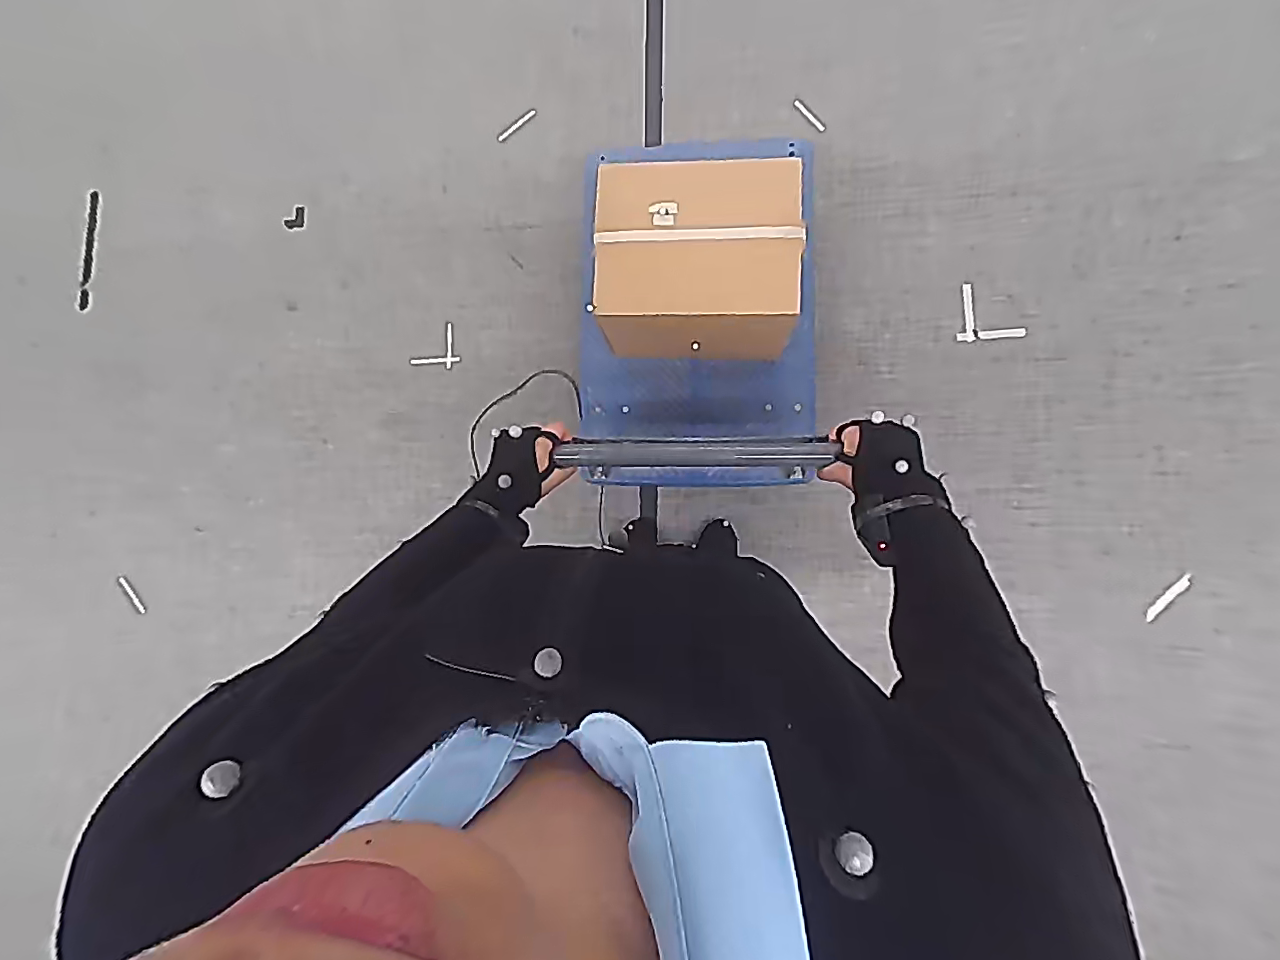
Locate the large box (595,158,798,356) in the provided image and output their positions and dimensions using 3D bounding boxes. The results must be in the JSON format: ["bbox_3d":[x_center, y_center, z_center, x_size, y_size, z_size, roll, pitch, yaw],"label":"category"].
[{"bbox_3d":[0.128,-0.473,1.222,0.408,0.320,0.320,1,86,7],"label":"large box"}]
